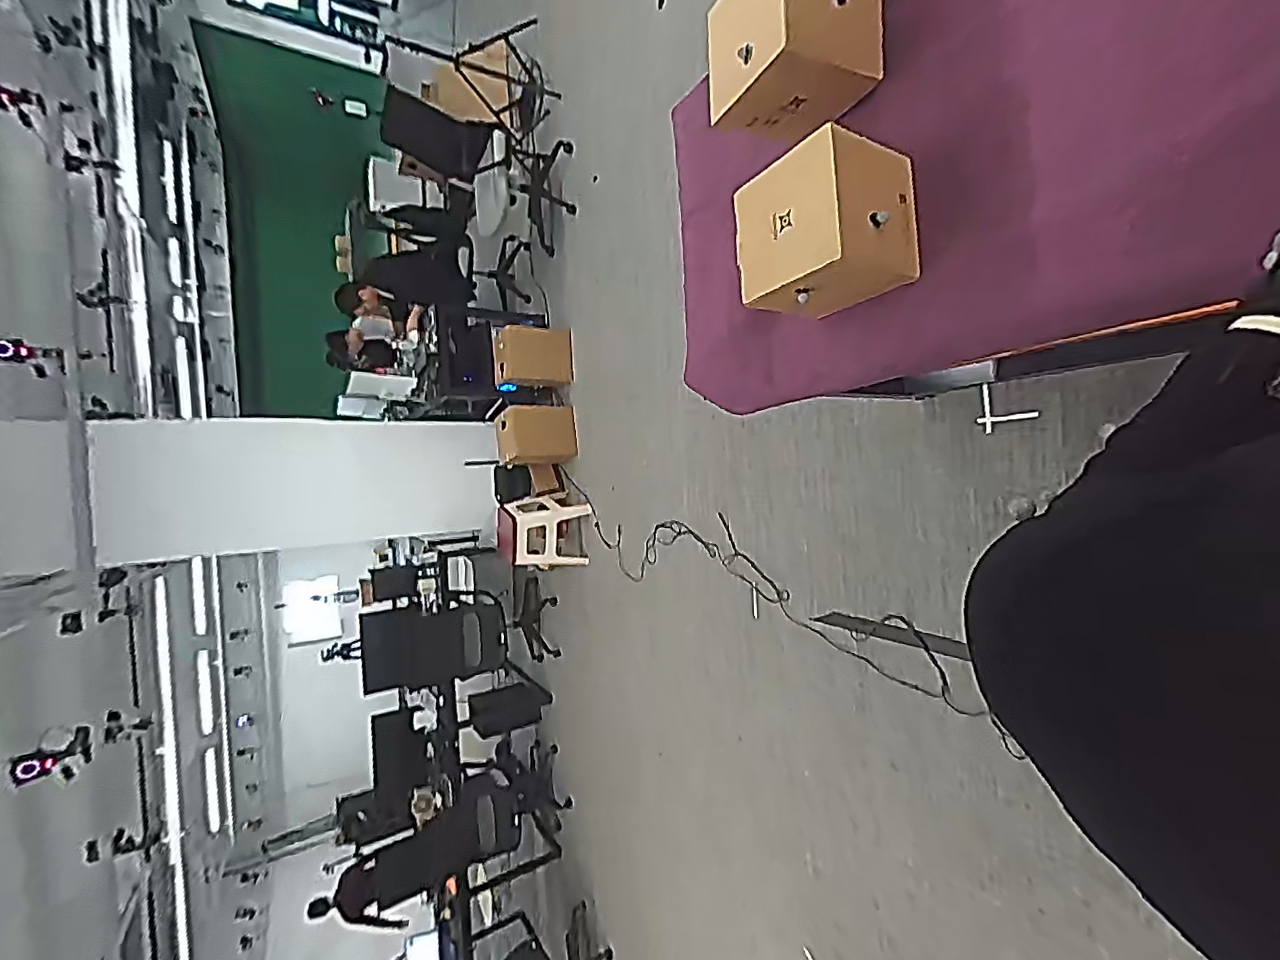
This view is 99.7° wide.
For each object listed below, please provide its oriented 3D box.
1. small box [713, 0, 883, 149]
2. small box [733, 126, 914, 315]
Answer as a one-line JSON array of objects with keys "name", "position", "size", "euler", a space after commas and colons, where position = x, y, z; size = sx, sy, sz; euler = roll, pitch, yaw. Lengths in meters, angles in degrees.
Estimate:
[{"name": "small box", "position": [0.211, -0.610, 0.758], "size": [0.179, 0.168, 0.176], "euler": [-176, 84, -66]}, {"name": "small box", "position": [0.254, -0.338, 0.745], "size": [0.179, 0.176, 0.168], "euler": [-7, 88, 59]}]
